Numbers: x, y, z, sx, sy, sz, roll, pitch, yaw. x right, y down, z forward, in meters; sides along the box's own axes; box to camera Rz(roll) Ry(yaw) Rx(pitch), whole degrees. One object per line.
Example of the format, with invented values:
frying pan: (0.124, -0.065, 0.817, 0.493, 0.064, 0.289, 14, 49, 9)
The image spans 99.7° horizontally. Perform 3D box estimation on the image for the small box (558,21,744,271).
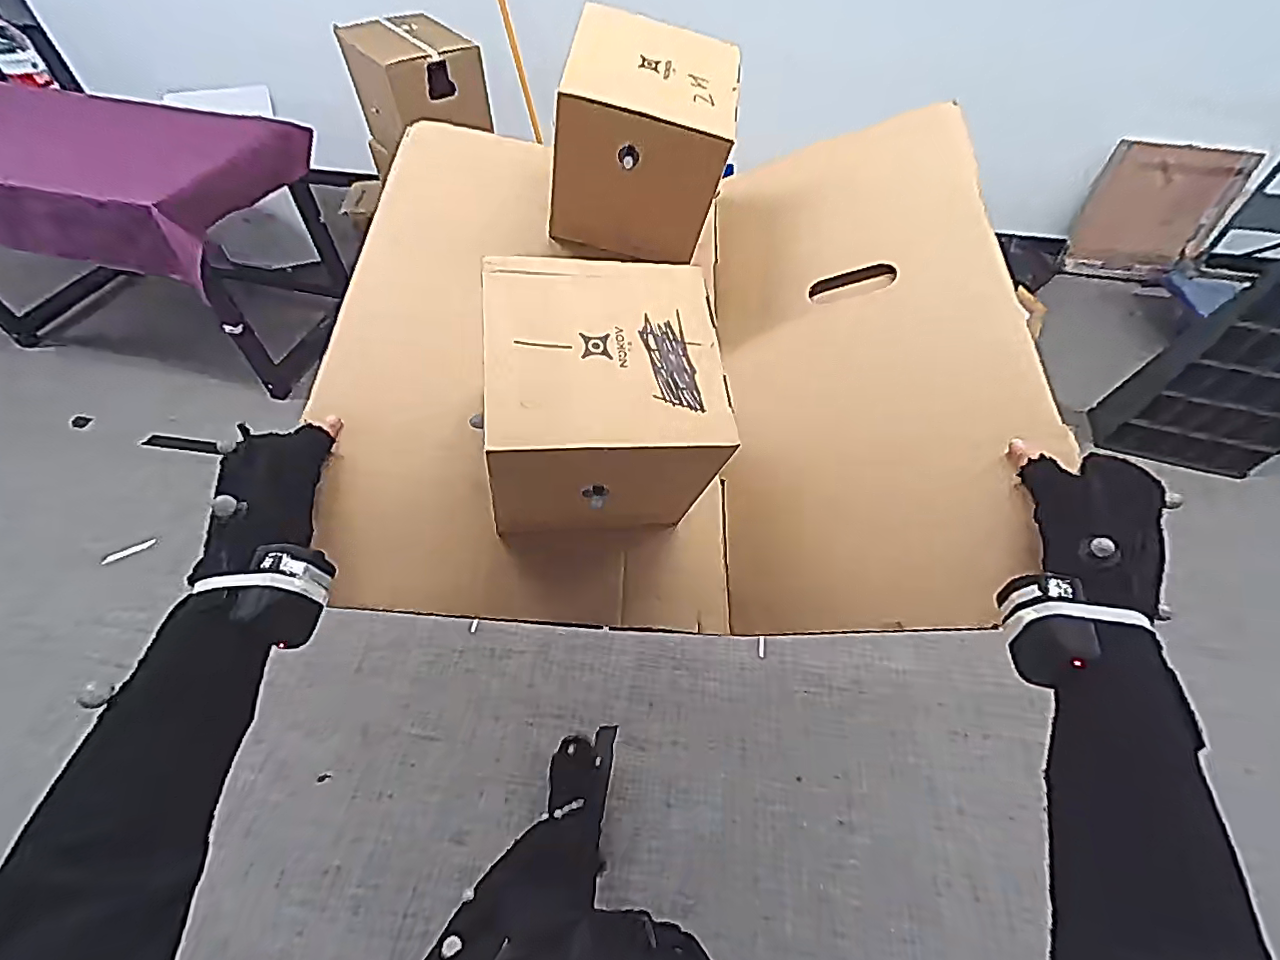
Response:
small box: (0.006, -0.375, 0.631, 0.179, 0.176, 0.168, 12, 64, -7)

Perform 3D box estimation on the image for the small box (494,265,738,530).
small box: (-0.036, -0.060, 0.477, 0.179, 0.176, 0.168, -2, 67, -12)
